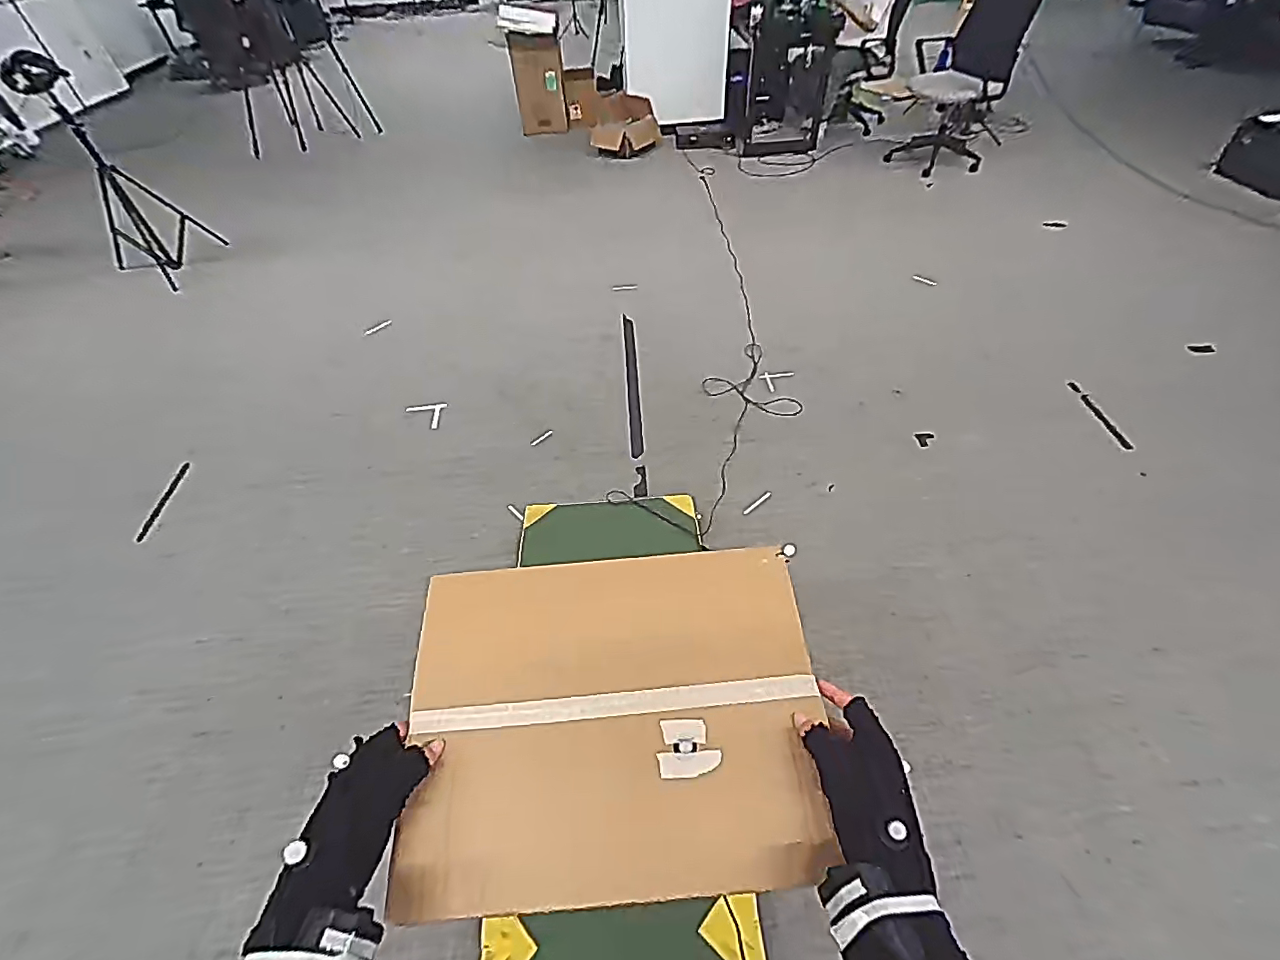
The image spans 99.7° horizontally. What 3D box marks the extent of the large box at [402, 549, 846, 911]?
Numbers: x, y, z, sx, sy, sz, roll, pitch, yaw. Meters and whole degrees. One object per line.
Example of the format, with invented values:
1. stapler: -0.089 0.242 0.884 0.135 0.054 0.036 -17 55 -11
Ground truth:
1. large box: -0.023 0.309 0.679 0.408 0.320 0.320 -5 57 -2
